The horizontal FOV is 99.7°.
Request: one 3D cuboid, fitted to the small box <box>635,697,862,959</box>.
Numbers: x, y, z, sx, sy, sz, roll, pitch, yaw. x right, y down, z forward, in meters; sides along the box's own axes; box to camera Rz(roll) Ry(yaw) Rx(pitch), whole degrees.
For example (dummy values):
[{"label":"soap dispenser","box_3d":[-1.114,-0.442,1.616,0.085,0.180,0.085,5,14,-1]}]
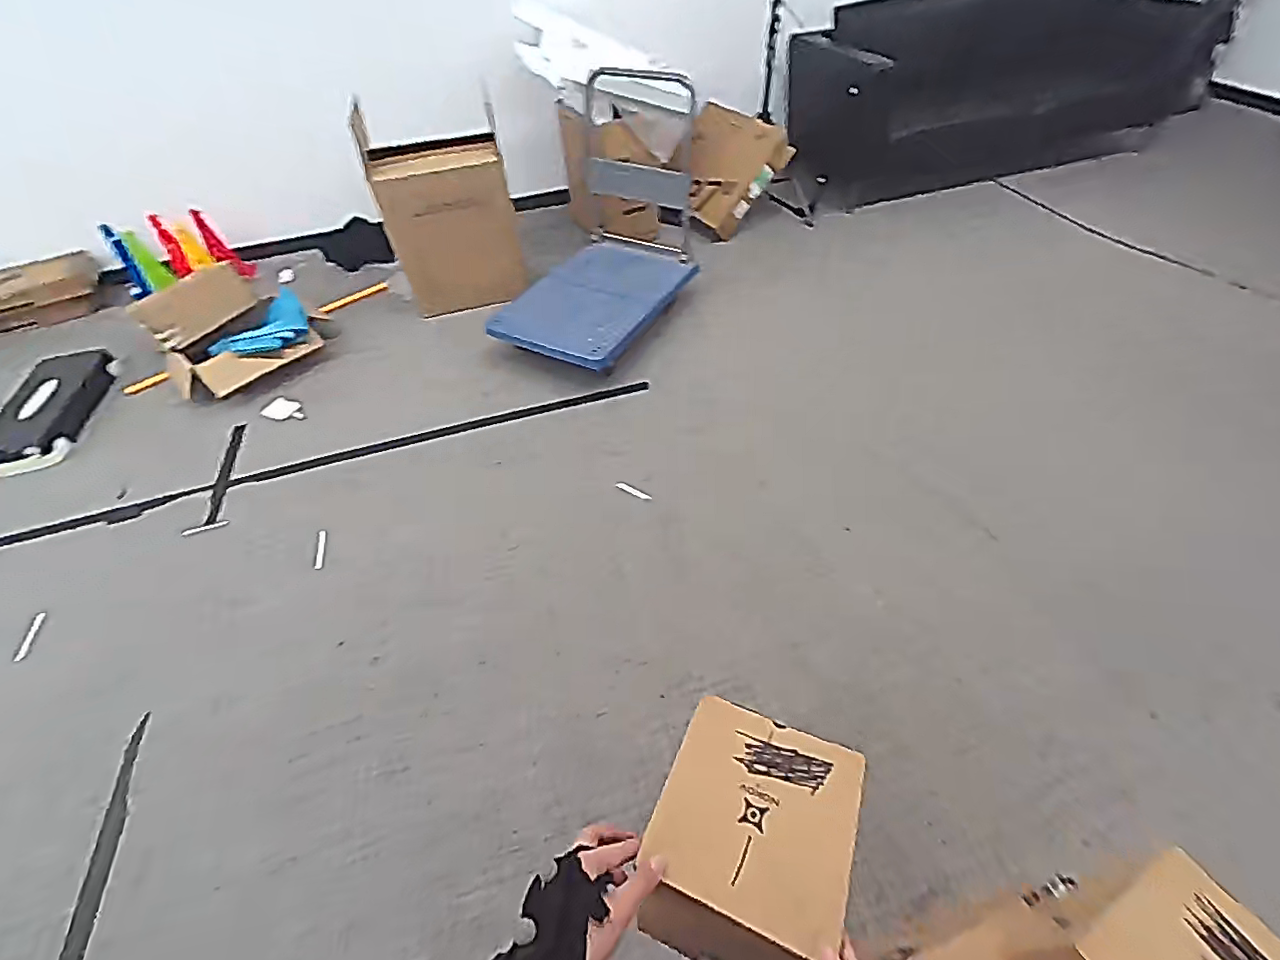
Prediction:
[{"label":"small box","box_3d":[0.103,0.359,0.528,0.168,0.176,0.179,15,39,21]}]
